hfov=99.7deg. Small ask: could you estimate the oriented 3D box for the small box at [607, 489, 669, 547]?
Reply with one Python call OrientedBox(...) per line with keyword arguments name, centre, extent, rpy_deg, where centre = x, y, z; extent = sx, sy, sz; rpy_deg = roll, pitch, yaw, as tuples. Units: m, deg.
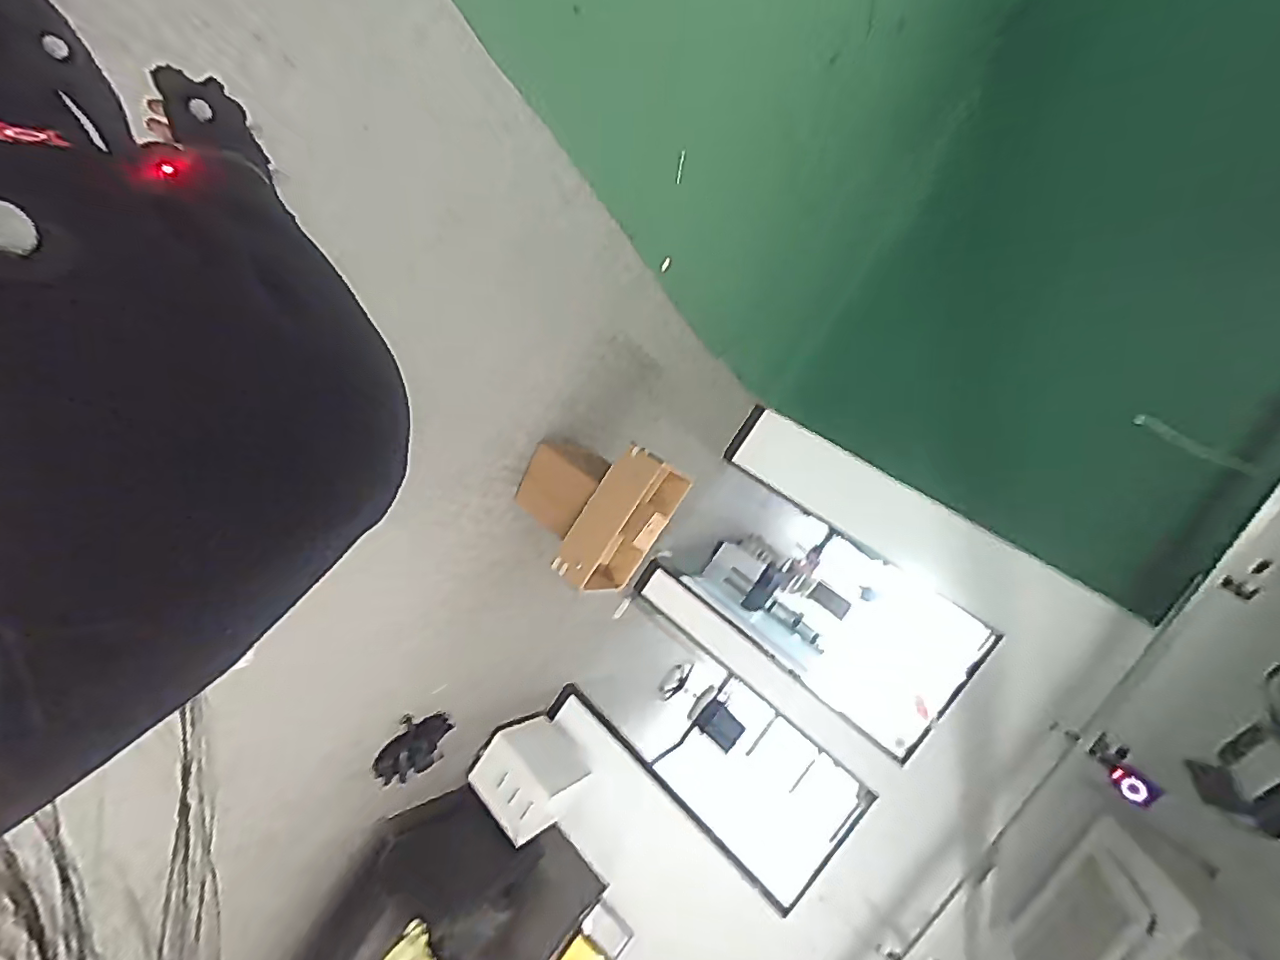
OrientedBox(name="small box", centre=(-0.009, 0.159, 2.304), extent=(0.168, 0.176, 0.179), rpy_deg=(-54, 155, -2))
